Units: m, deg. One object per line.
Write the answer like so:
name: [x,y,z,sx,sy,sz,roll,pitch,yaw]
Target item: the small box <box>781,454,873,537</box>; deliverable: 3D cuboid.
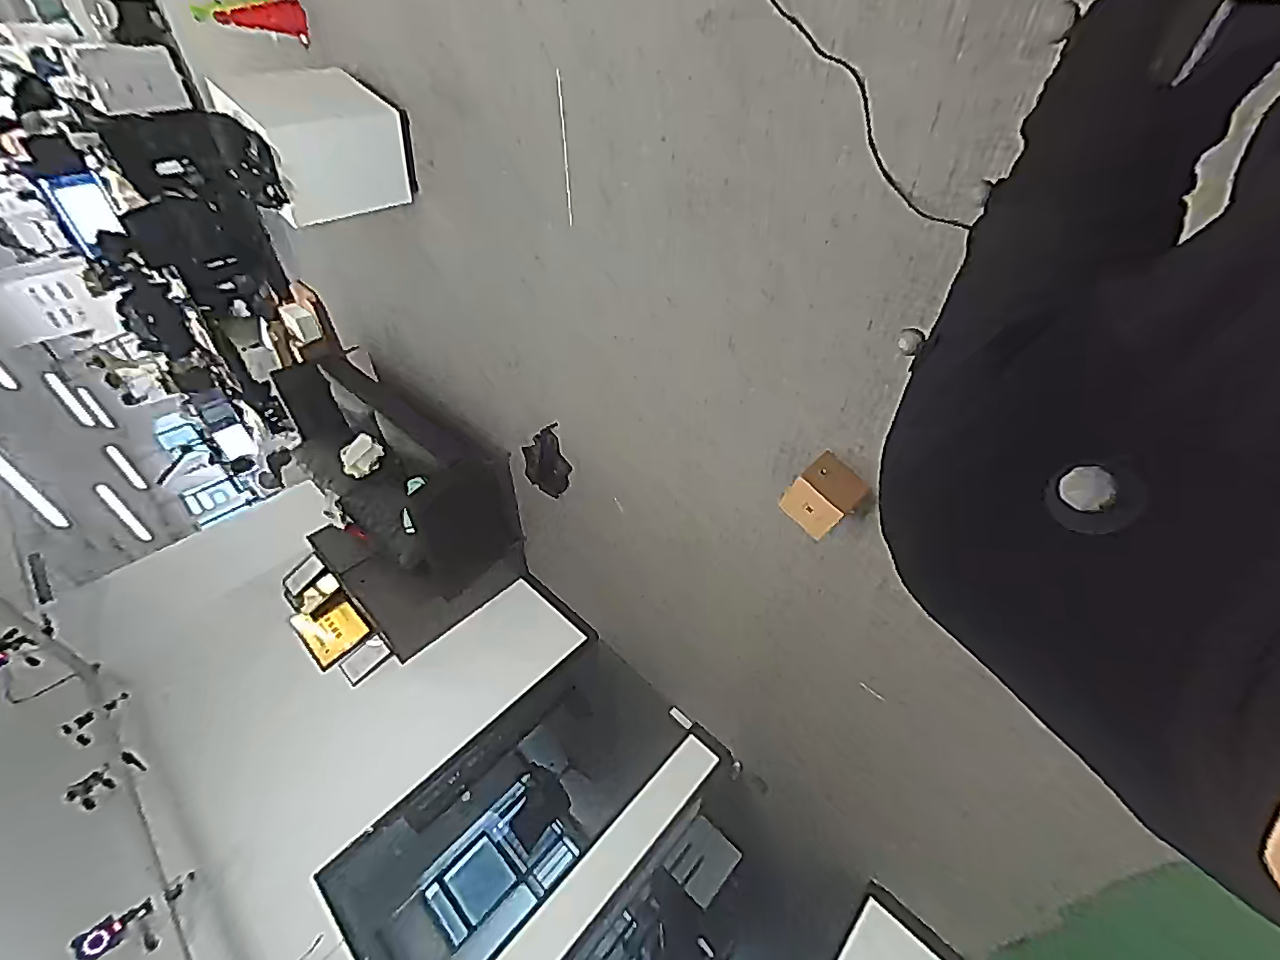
small box: [0.584,0.040,1.691,0.179,0.176,0.168,43,146,16]
